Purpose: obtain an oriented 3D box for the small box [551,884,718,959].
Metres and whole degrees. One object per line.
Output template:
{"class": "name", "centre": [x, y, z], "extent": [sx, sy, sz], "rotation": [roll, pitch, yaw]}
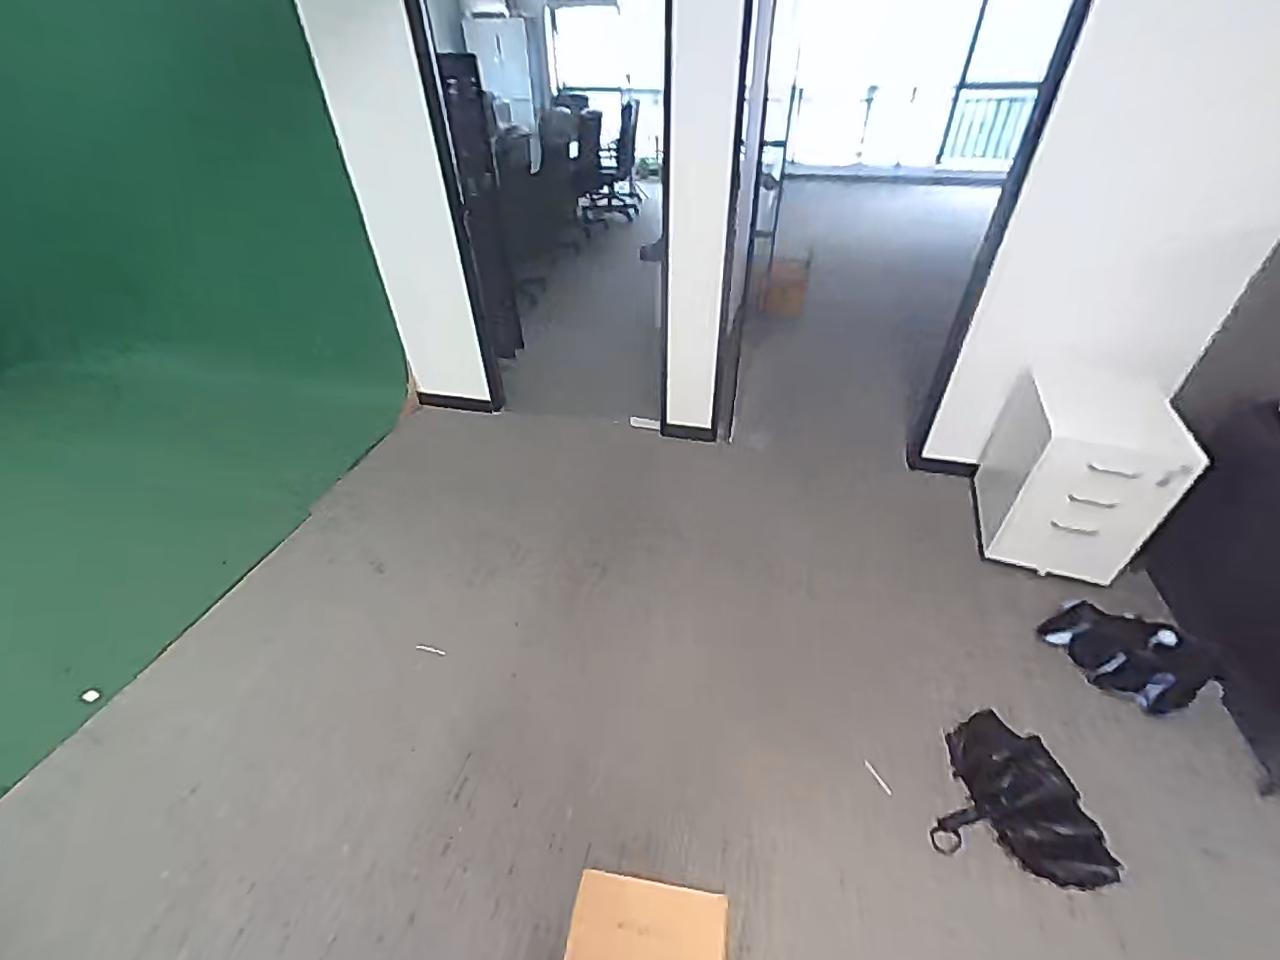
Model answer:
{"class": "small box", "centre": [-0.005, 0.574, 0.588], "extent": [0.168, 0.176, 0.179], "rotation": [1, 45, 12]}
